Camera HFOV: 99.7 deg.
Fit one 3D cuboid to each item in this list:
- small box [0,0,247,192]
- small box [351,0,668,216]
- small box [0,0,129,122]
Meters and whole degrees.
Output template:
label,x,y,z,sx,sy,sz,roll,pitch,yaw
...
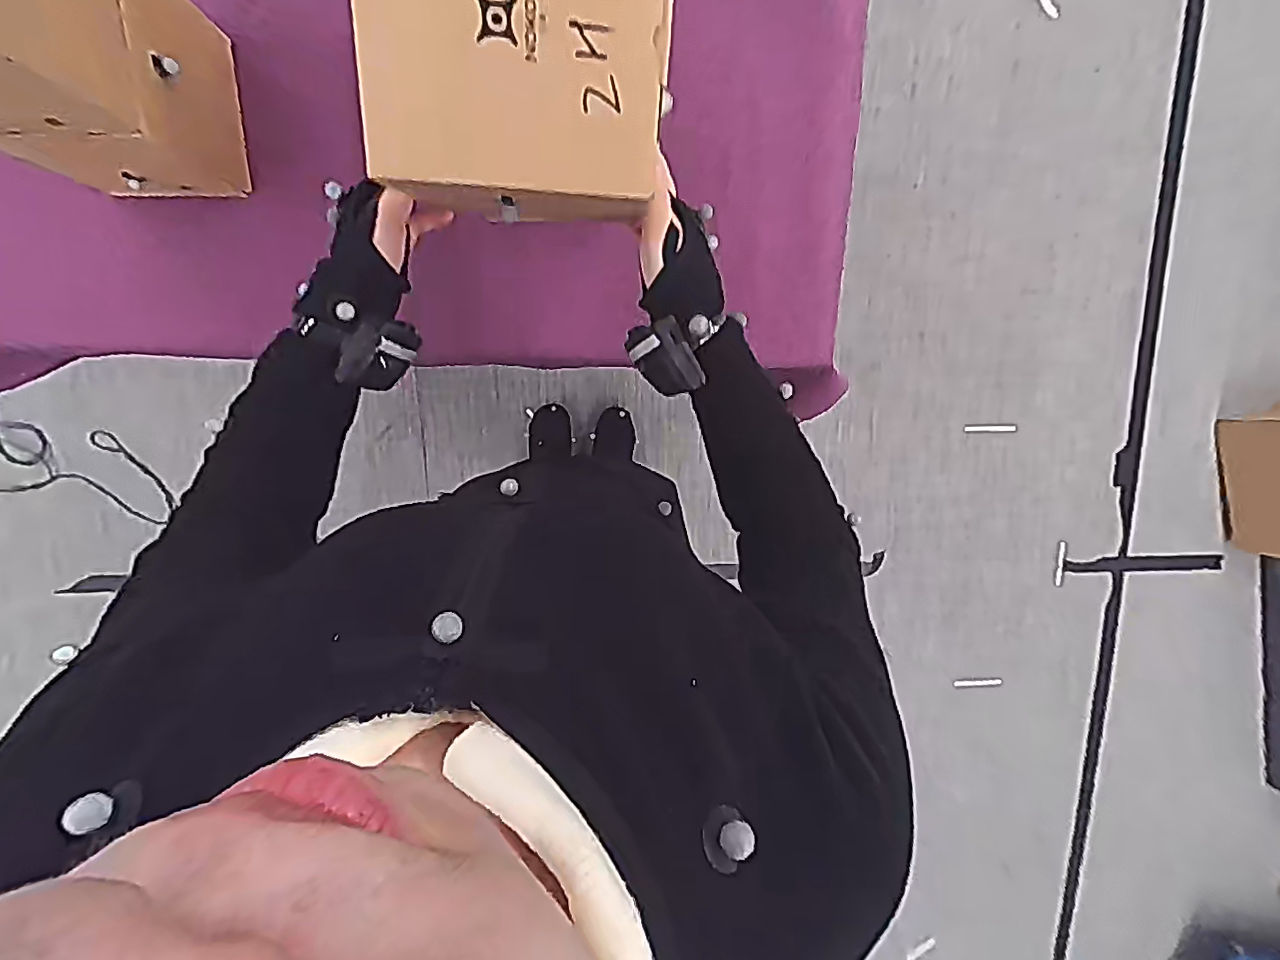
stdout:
label,x,y,z,sx,sy,sz,roll,pitch,yaw
small box,-0.556,-0.426,0.566,0.168,0.176,0.179,-2,102,-4
small box,-0.077,-0.286,0.375,0.179,0.176,0.168,2,111,-5
small box,-0.545,-0.396,0.405,0.168,0.176,0.179,-3,101,-4
